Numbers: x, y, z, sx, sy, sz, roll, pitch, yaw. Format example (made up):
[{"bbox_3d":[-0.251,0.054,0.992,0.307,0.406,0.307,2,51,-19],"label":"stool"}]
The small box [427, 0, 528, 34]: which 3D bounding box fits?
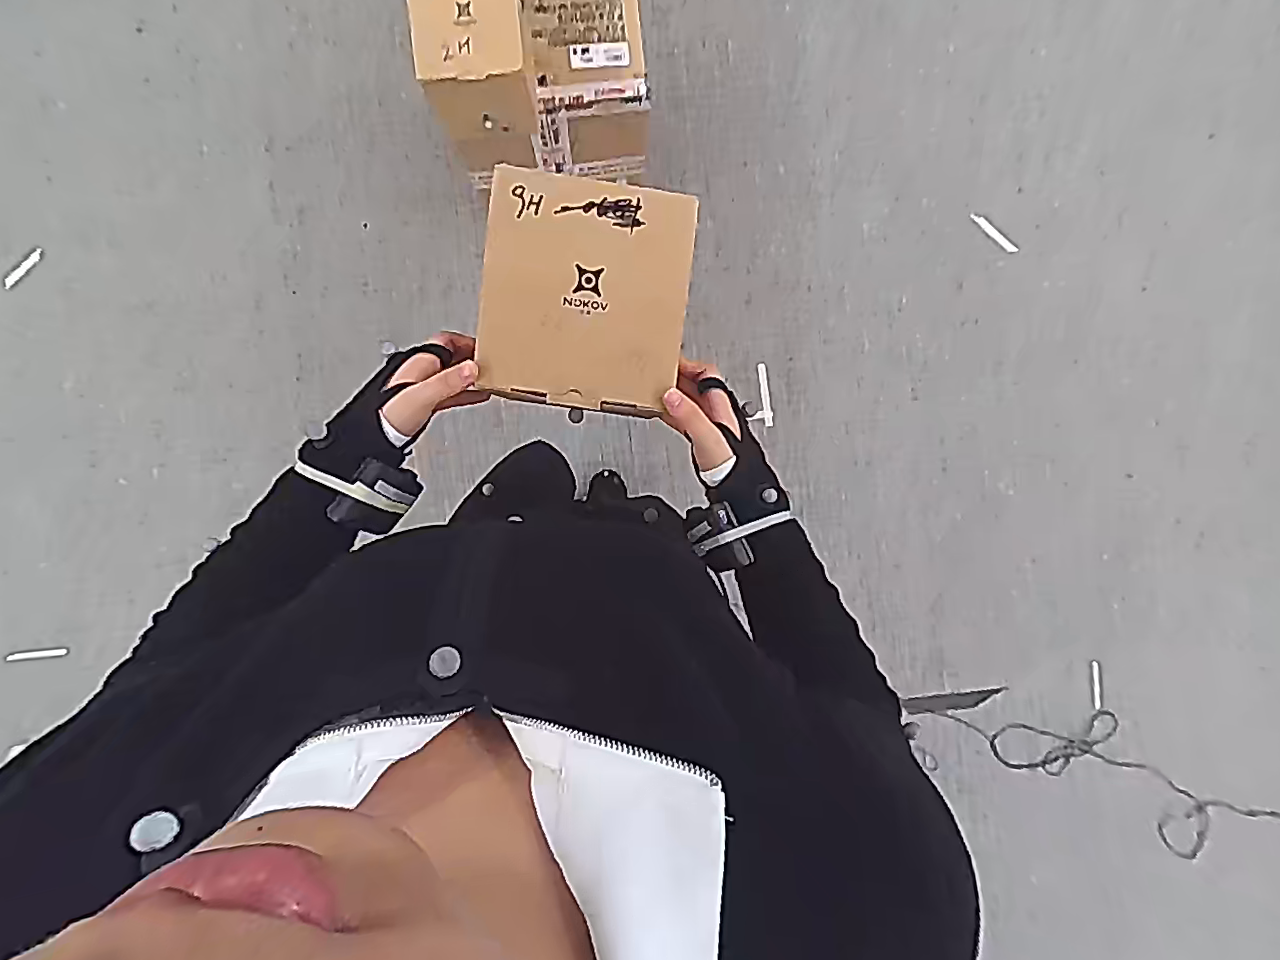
[{"bbox_3d":[-0.287,-0.887,0.885,0.168,0.176,0.179,-6,95,0],"label":"small box"}]
